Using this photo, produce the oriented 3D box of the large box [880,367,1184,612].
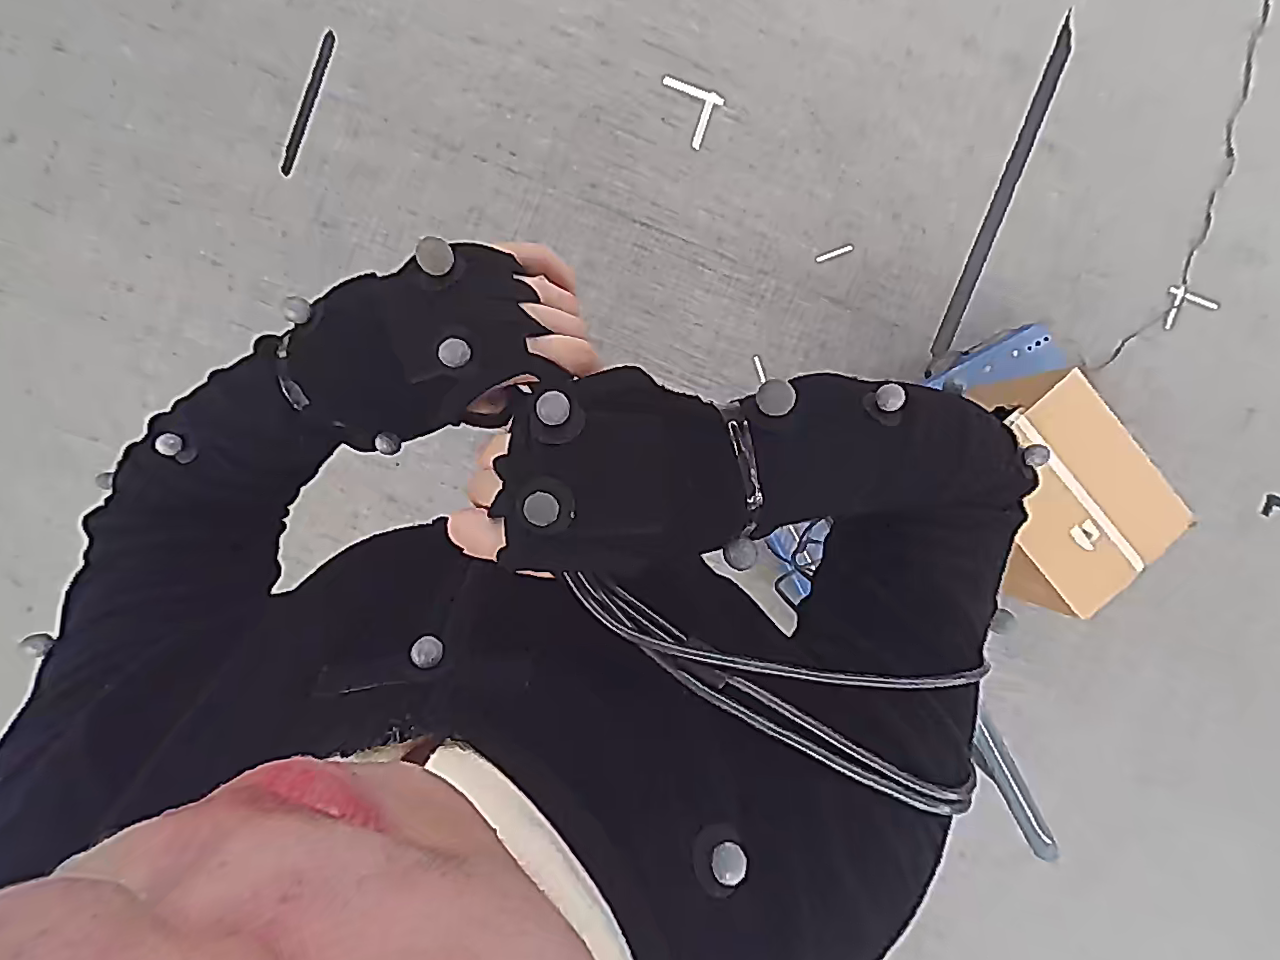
[{"bbox_3d":[0.843,0.013,1.216,0.320,0.320,0.408,-41,95,0],"label":"large box"}]
